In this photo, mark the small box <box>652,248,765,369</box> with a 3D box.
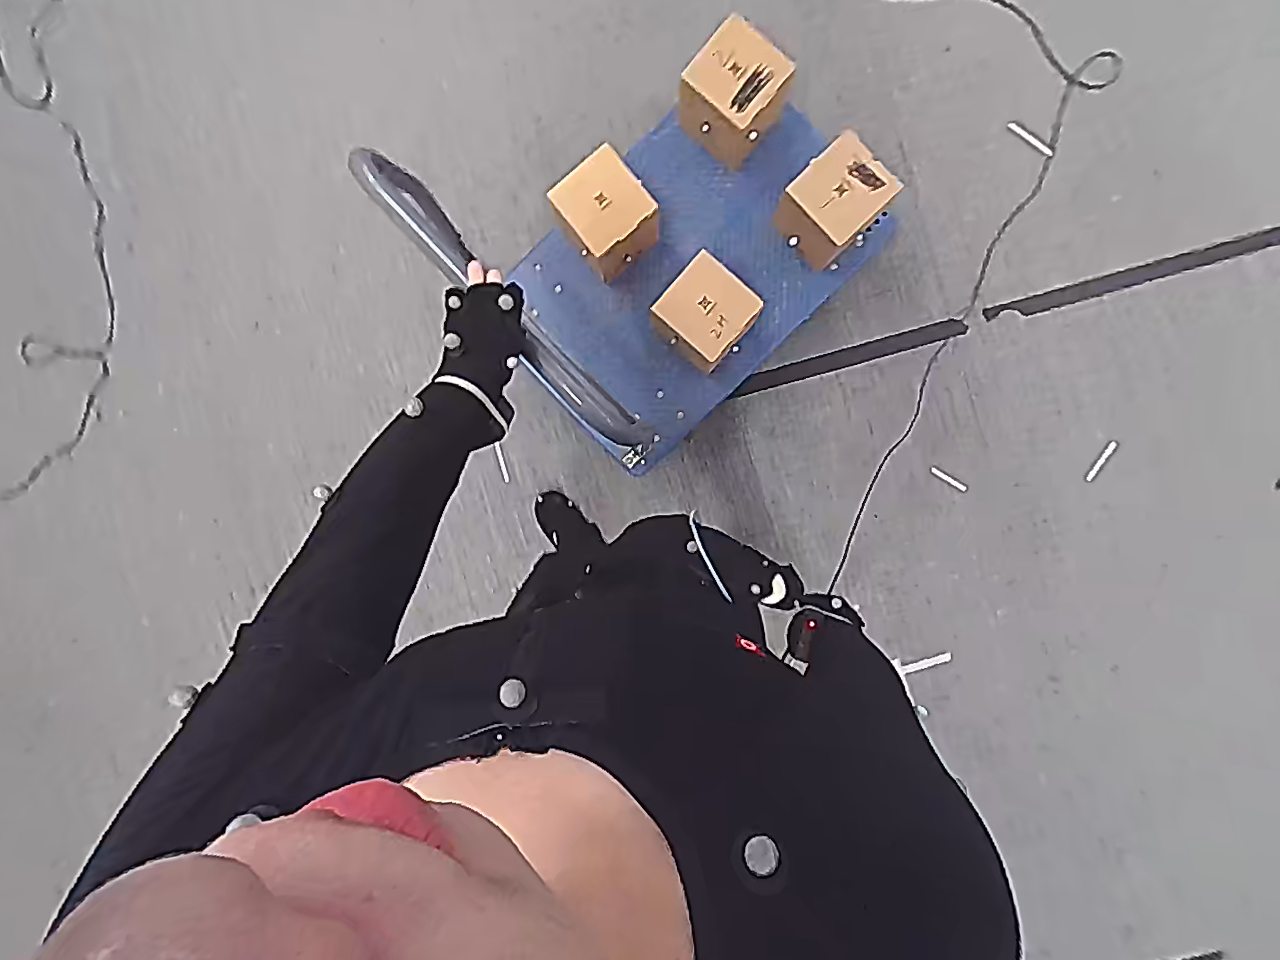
[{"bbox_3d":[0.145,-0.367,1.196,0.179,0.176,0.168,42,94,1],"label":"small box"}]

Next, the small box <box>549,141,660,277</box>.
[{"bbox_3d":[-0.073,-0.587,1.198,0.168,0.176,0.179,-40,91,3],"label":"small box"}]

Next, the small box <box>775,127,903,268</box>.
[{"bbox_3d":[0.419,-0.601,1.173,0.179,0.176,0.168,-43,90,5],"label":"small box"}]
